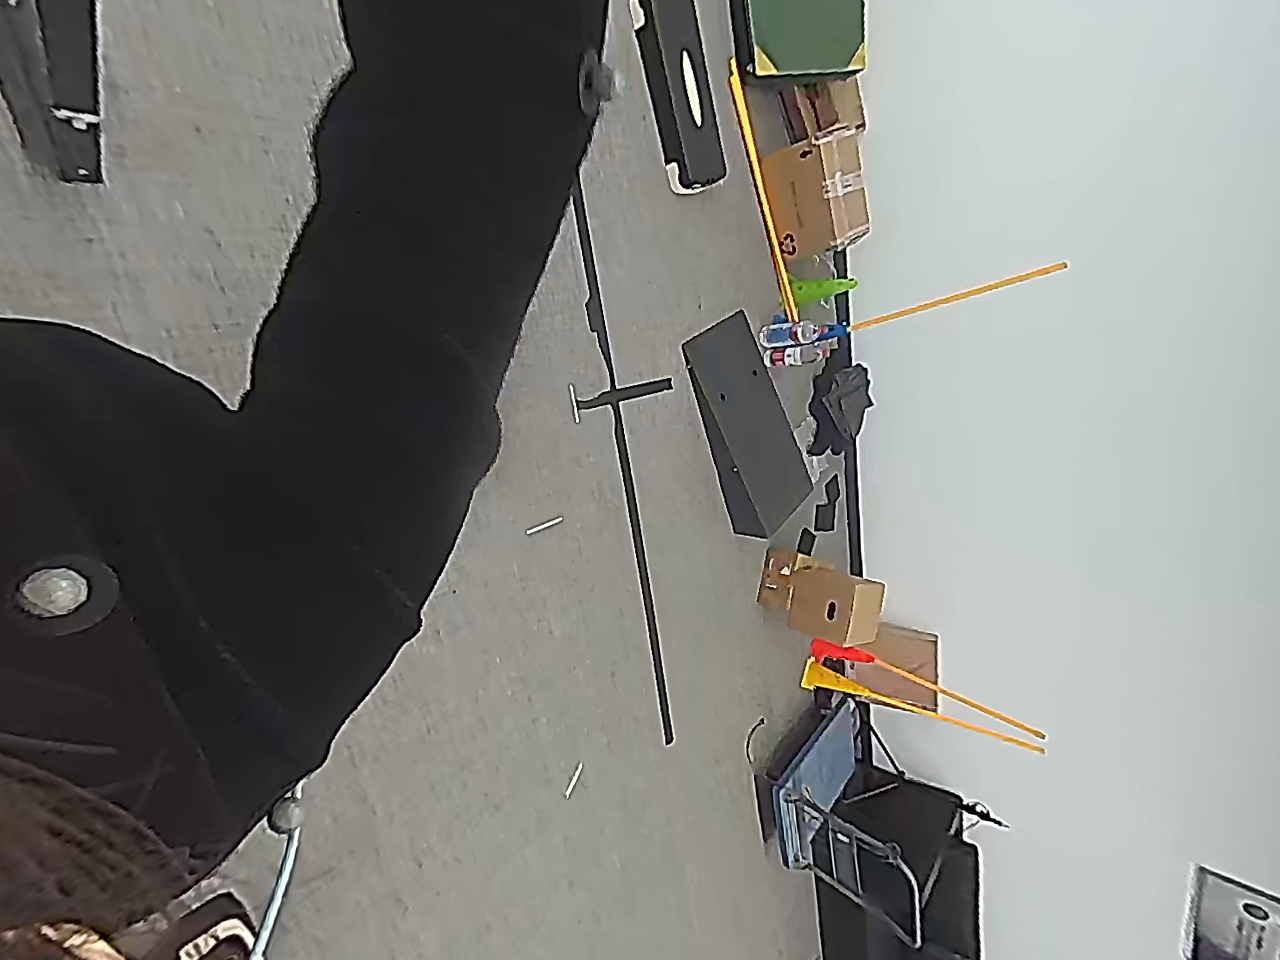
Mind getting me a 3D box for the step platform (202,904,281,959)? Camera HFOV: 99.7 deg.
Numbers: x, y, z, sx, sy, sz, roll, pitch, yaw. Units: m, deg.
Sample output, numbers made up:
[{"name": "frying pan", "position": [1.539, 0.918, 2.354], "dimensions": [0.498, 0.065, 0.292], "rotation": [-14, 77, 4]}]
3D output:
[{"name": "step platform", "position": [-1.092, 1.213, 1.052], "dimensions": [0.684, 0.204, 0.286], "rotation": [-14, 104, -44]}]
